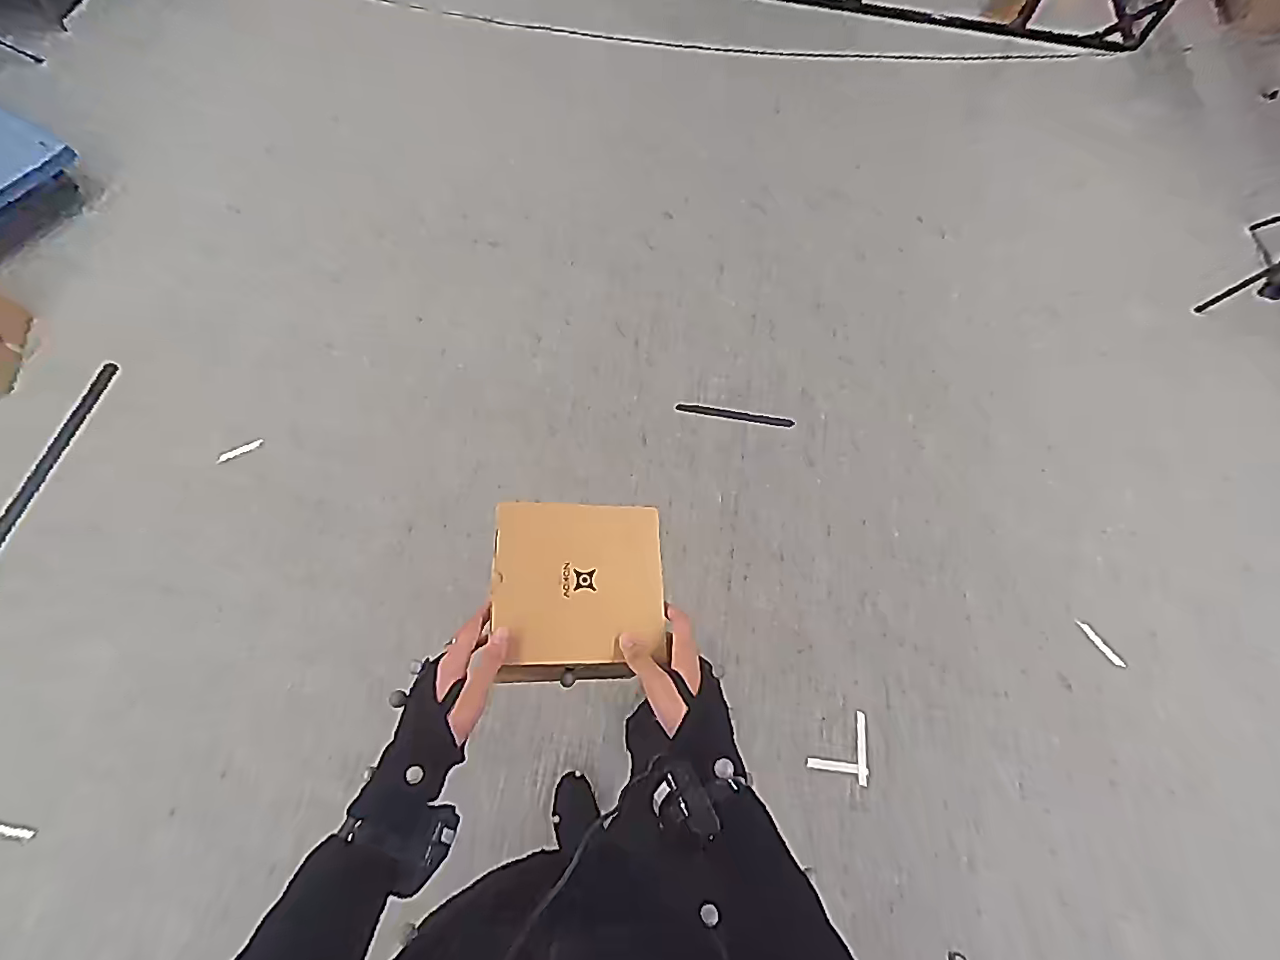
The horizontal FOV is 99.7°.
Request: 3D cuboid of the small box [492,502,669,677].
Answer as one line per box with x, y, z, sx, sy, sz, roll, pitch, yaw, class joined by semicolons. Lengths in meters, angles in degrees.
-0.074;0.134;0.626;0.179;0.176;0.168;2;65;-12;small box
